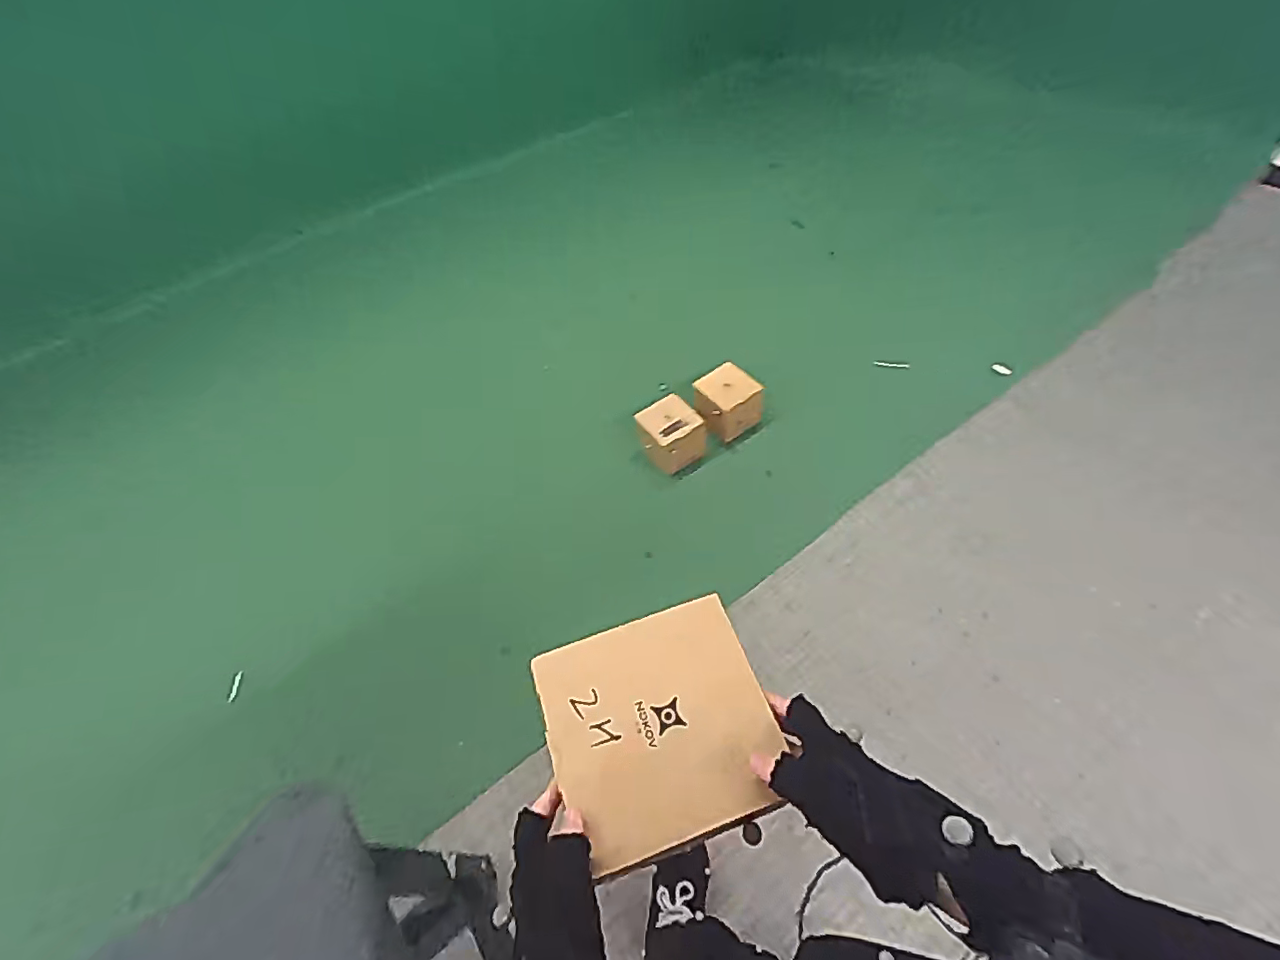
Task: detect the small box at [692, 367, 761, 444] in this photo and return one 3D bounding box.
[{"bbox_3d":[0.299,-0.259,1.903,0.168,0.176,0.179,-33,58,-17],"label":"small box"}]

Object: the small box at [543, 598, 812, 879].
[{"bbox_3d":[0.025,0.235,0.492,0.179,0.176,0.168,-16,54,-8],"label":"small box"}]
